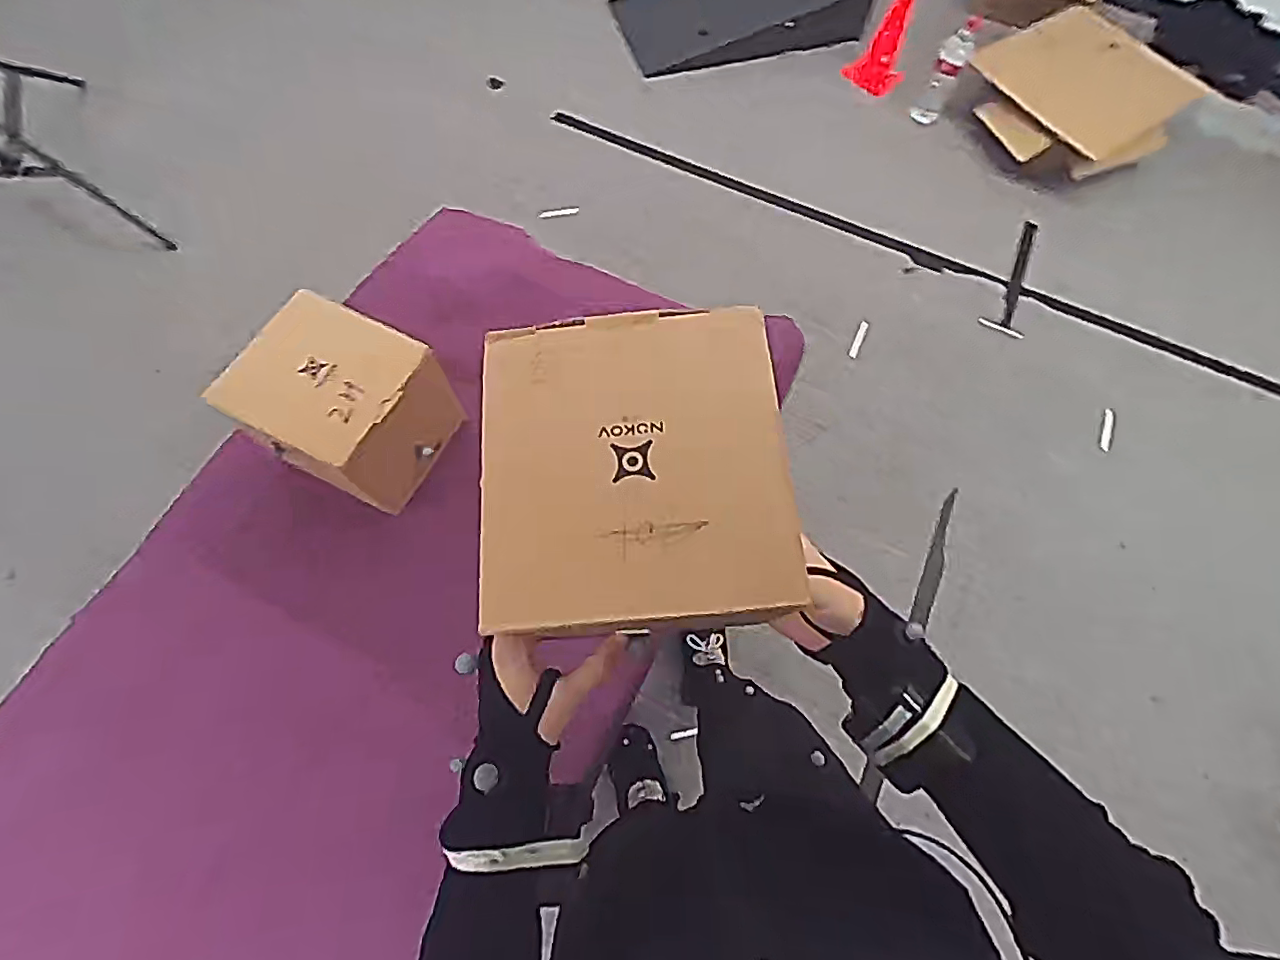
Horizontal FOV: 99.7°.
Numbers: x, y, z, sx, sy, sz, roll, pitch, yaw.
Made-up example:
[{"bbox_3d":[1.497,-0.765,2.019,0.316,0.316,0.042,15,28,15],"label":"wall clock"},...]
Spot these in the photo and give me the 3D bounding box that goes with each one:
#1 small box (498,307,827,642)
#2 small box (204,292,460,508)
[{"bbox_3d":[0.009,0.012,0.368,0.168,0.176,0.179,-6,72,3],"label":"small box"},{"bbox_3d":[-0.351,-0.086,0.657,0.179,0.176,0.168,26,70,5],"label":"small box"}]
